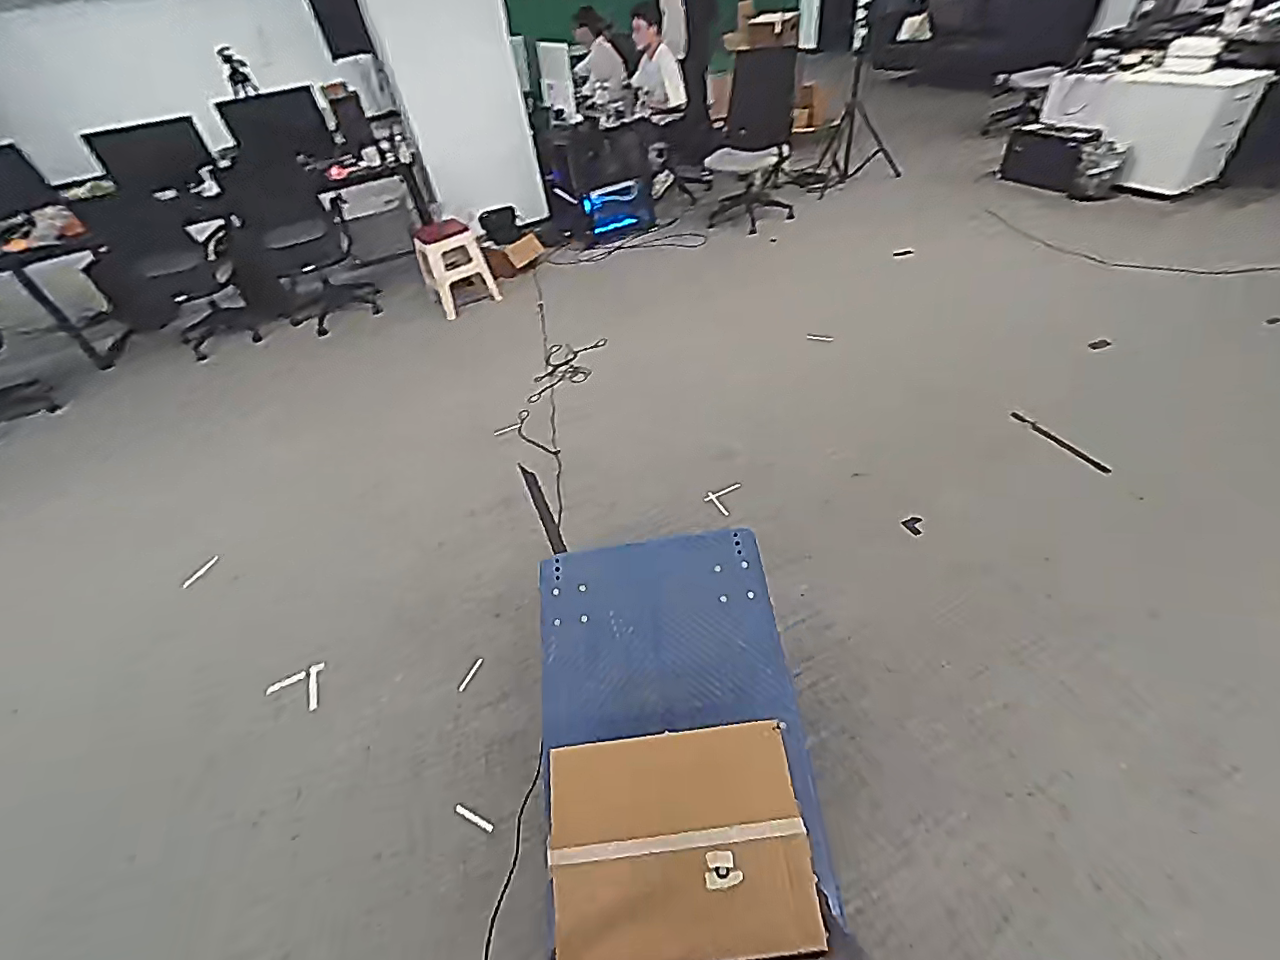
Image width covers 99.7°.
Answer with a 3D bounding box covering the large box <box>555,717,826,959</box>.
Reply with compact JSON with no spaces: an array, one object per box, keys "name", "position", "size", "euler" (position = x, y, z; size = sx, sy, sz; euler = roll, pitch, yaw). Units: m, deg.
[{"name":"large box","position":[0.076,0.657,1.011],"size":[0.408,0.320,0.320],"euler":[-9,61,0]}]
